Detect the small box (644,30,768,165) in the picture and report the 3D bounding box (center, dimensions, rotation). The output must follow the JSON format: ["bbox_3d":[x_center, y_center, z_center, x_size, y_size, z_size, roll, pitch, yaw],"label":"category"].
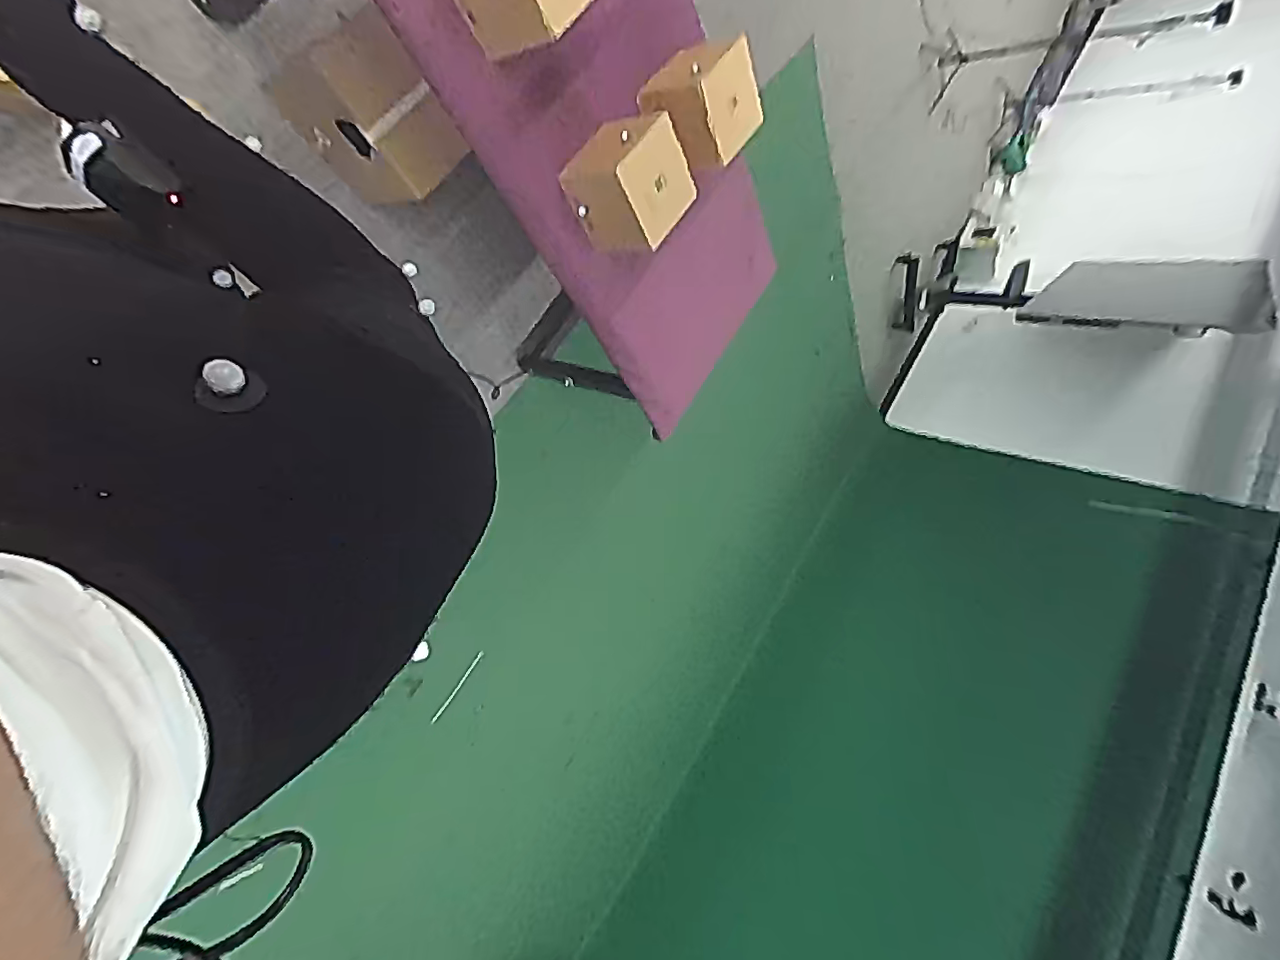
[{"bbox_3d":[0.138,-0.790,1.130,0.179,0.176,0.168,-54,140,-16],"label":"small box"}]

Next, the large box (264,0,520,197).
[{"bbox_3d":[-0.576,-0.945,1.283,0.408,0.320,0.320,-57,141,-16],"label":"large box"}]

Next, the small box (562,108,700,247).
[{"bbox_3d":[-0.017,-0.579,1.046,0.179,0.176,0.168,-55,139,-17],"label":"small box"}]

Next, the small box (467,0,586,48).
[{"bbox_3d":[-0.166,-0.769,0.776,0.179,0.176,0.168,-58,141,-15],"label":"small box"}]
